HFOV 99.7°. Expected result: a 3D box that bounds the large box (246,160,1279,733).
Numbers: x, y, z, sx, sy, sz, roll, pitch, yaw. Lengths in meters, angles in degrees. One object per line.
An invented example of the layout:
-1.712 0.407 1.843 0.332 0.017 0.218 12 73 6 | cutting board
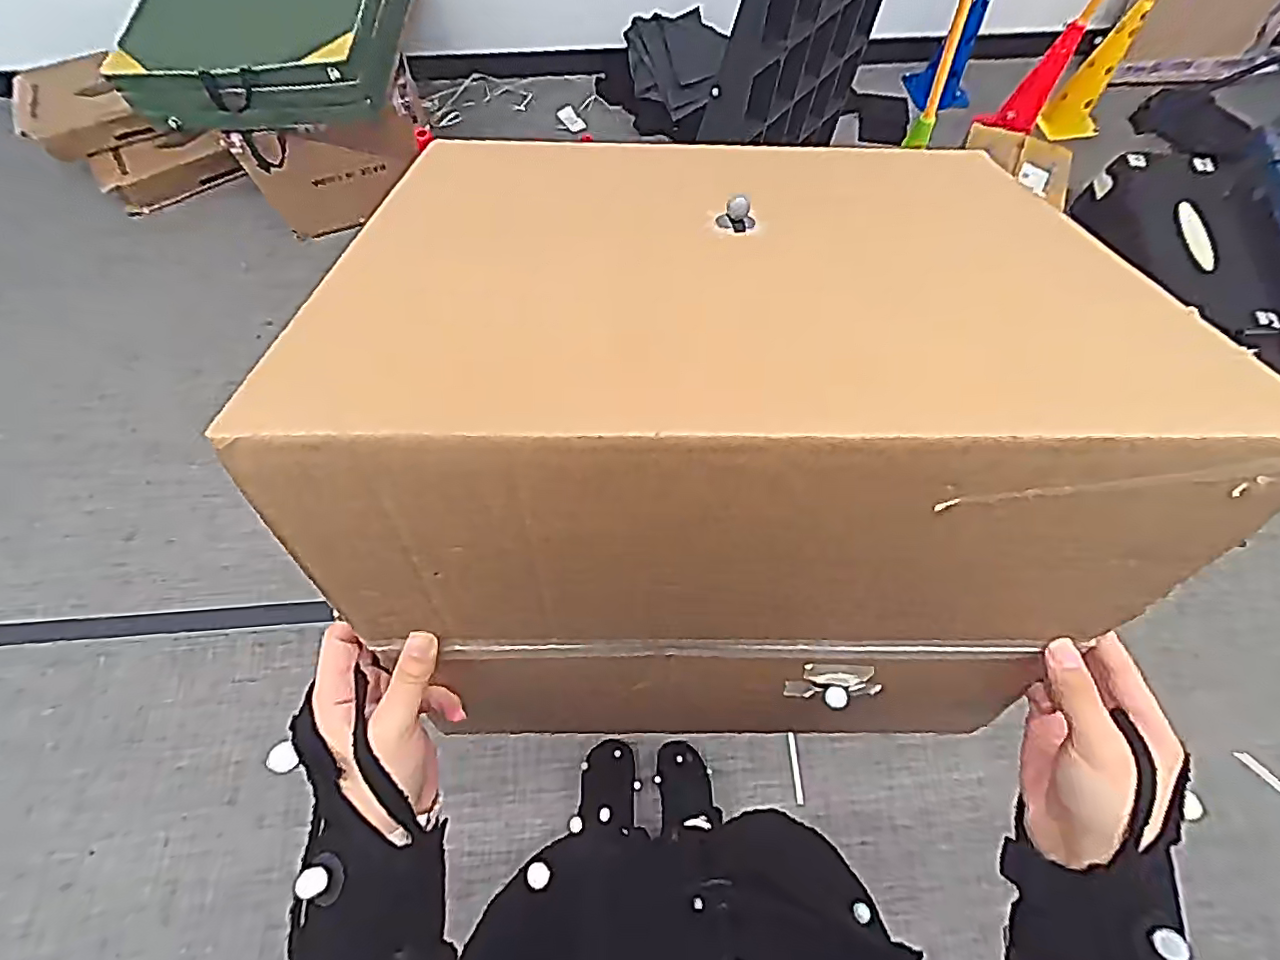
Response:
0.045 -0.021 0.410 0.408 0.320 0.320 -1 49 -1 | large box
